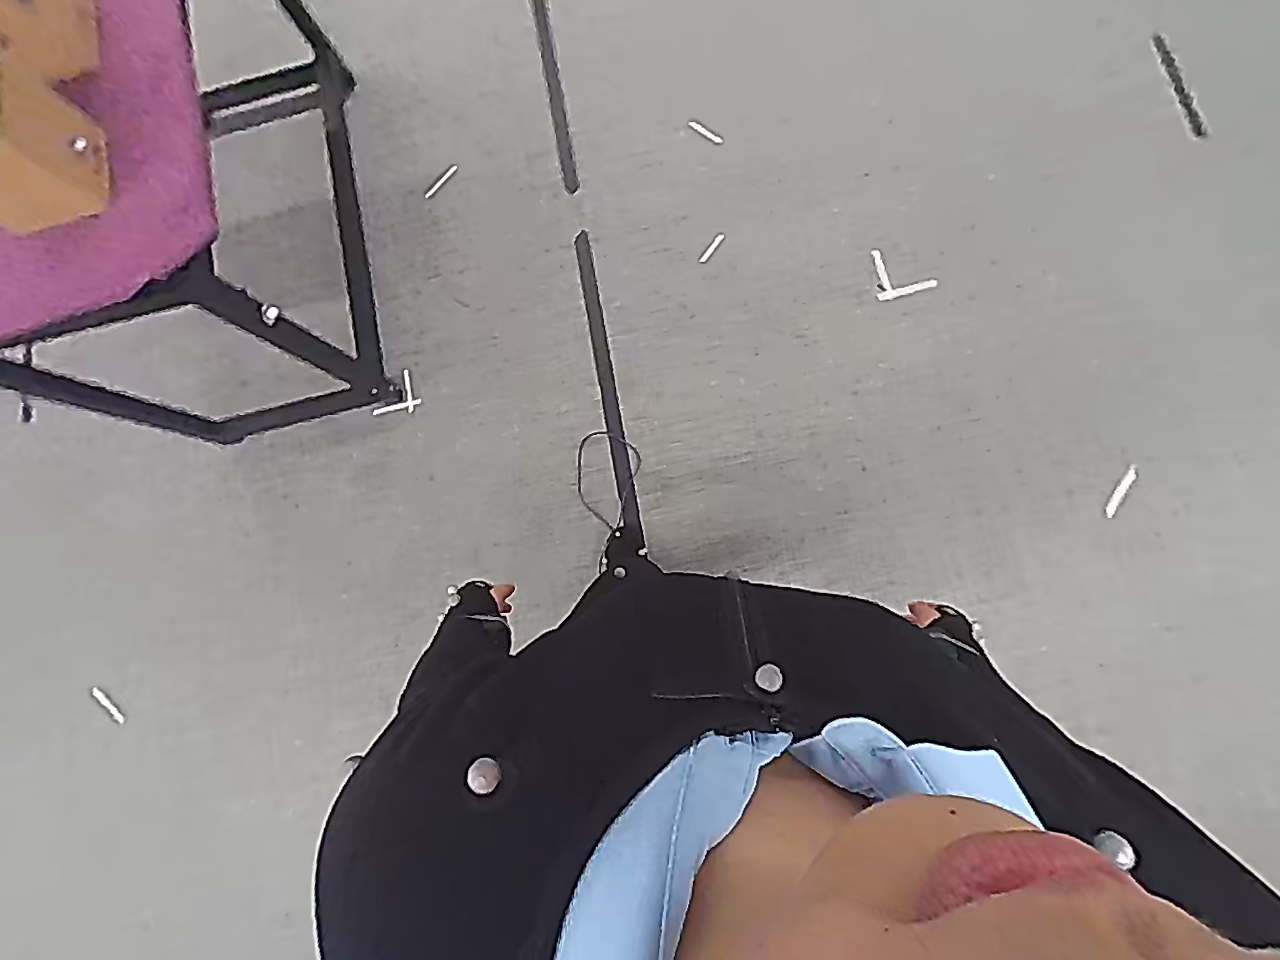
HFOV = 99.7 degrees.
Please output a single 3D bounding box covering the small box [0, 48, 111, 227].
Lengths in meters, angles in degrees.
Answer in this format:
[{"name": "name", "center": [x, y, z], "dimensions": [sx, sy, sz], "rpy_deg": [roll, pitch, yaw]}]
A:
[{"name": "small box", "center": [-1.030, -0.547, 0.883], "dimensions": [0.179, 0.176, 0.168], "rpy_deg": [-15, 80, 2]}]
